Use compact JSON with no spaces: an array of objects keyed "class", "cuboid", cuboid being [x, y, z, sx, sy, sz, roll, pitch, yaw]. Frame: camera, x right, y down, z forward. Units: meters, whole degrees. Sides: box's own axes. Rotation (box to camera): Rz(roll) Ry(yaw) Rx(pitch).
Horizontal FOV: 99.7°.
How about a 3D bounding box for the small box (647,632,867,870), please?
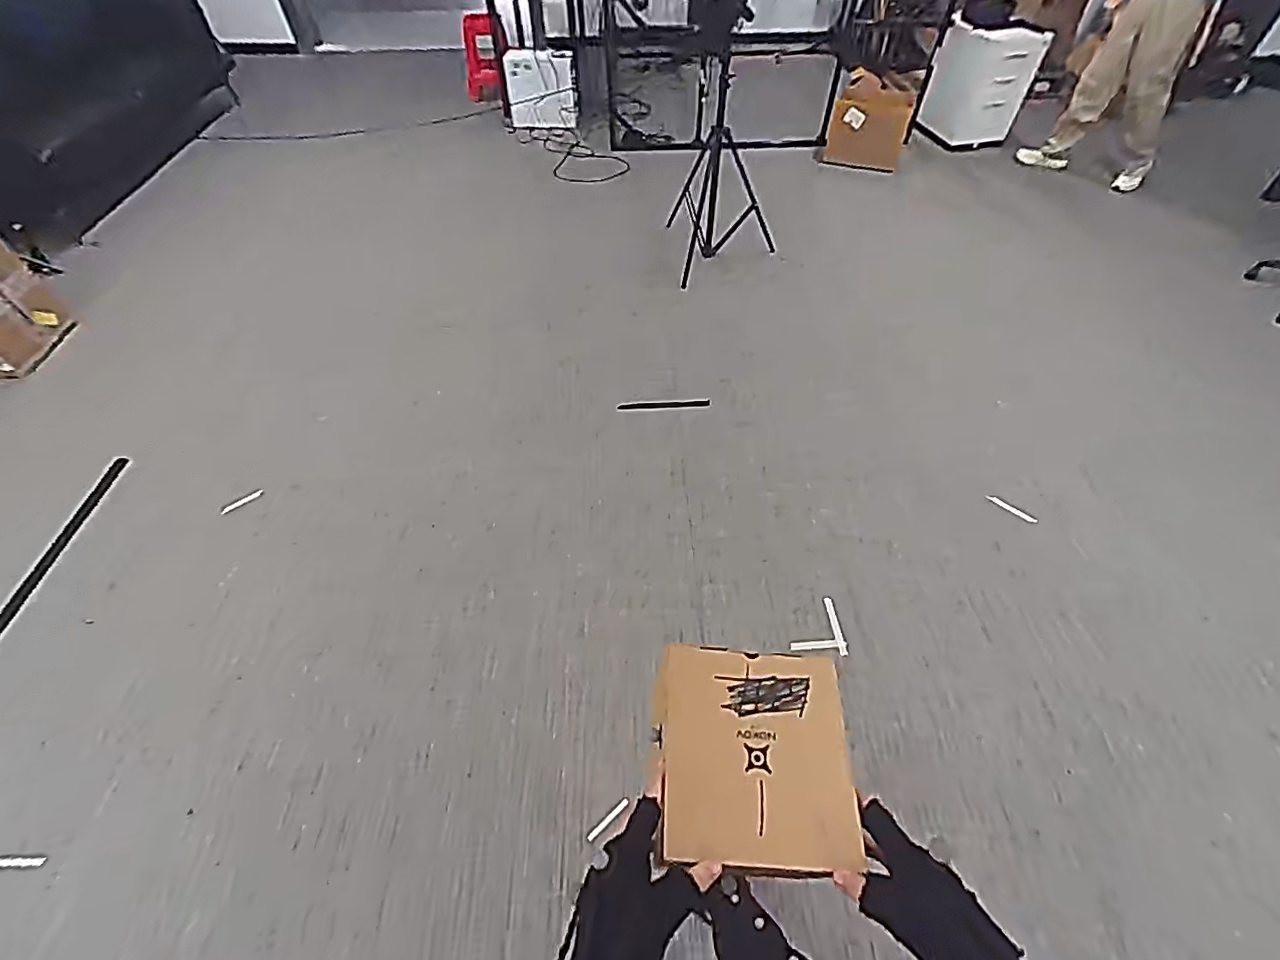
[{"class":"small box","cuboid":[0.097,0.272,0.537,0.168,0.176,0.179,5,53,-1]}]
